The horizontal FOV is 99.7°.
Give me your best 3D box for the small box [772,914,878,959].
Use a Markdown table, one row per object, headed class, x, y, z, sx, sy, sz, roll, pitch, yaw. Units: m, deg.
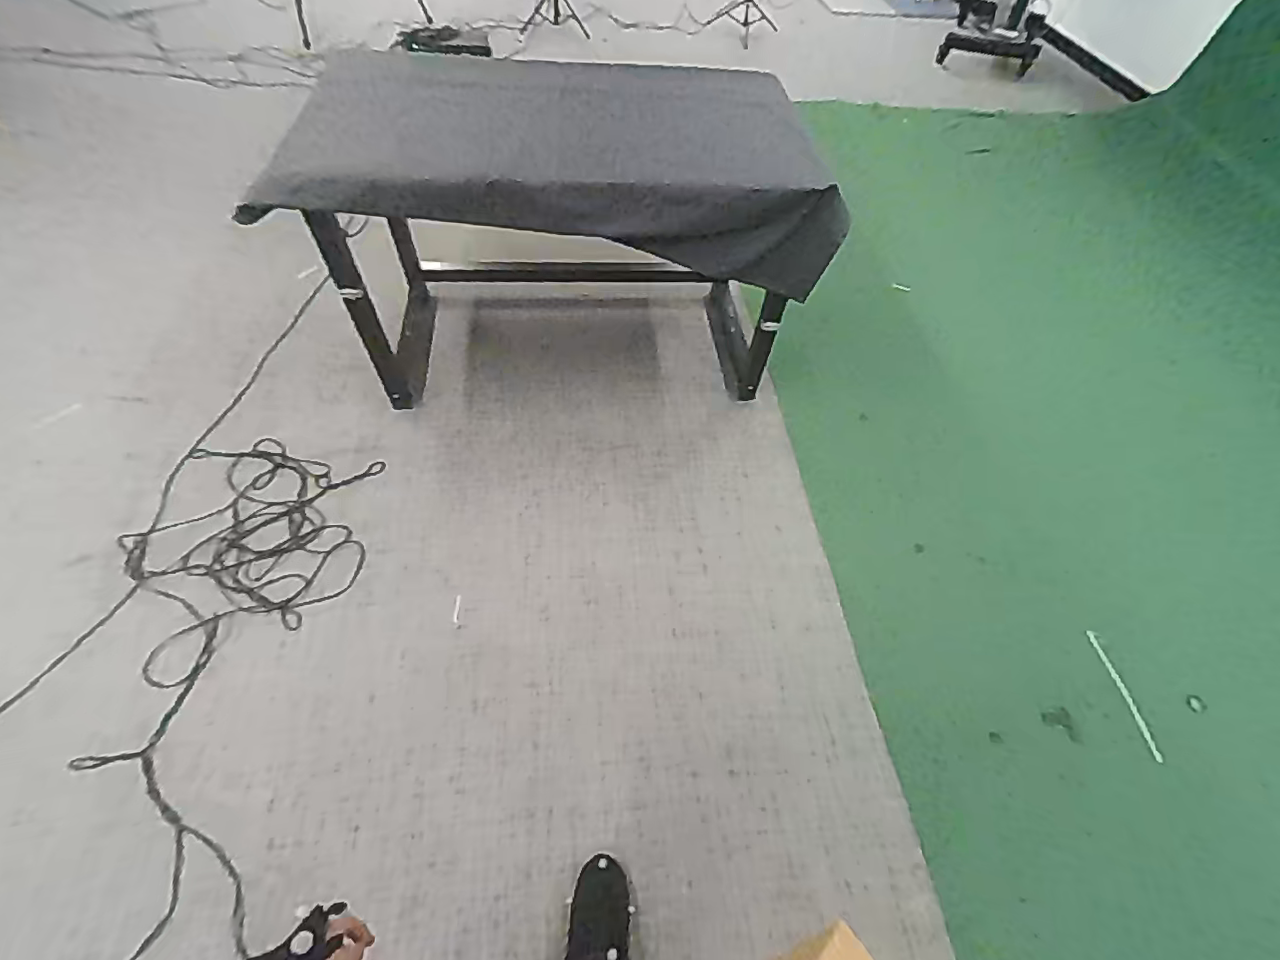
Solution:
| class | x | y | z | sx | sy | sz | roll | pitch | yaw |
| --- | --- | --- | --- | --- | --- | --- | --- | --- | --- |
| small box | 0.192 | 0.625 | 0.567 | 0.179 | 0.176 | 0.168 | -9 | 46 | -46 |
